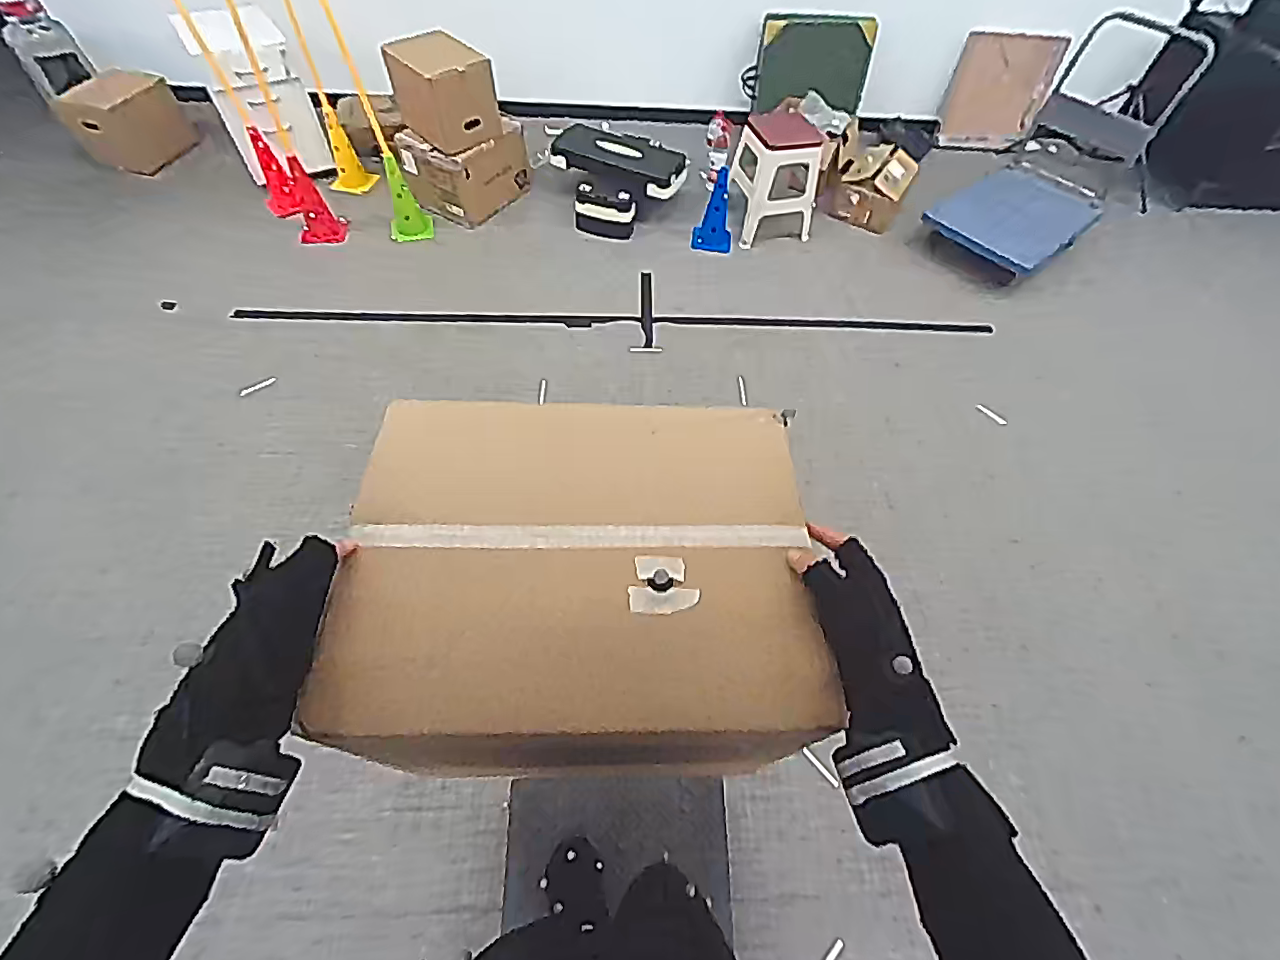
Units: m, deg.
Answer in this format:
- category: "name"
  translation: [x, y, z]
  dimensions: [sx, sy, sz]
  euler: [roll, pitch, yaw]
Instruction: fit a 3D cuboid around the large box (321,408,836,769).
- category: "large box"
  translation: [-0.055, 0.136, 0.617]
  dimensions: [0.408, 0.320, 0.320]
  euler: [1, 57, -3]
